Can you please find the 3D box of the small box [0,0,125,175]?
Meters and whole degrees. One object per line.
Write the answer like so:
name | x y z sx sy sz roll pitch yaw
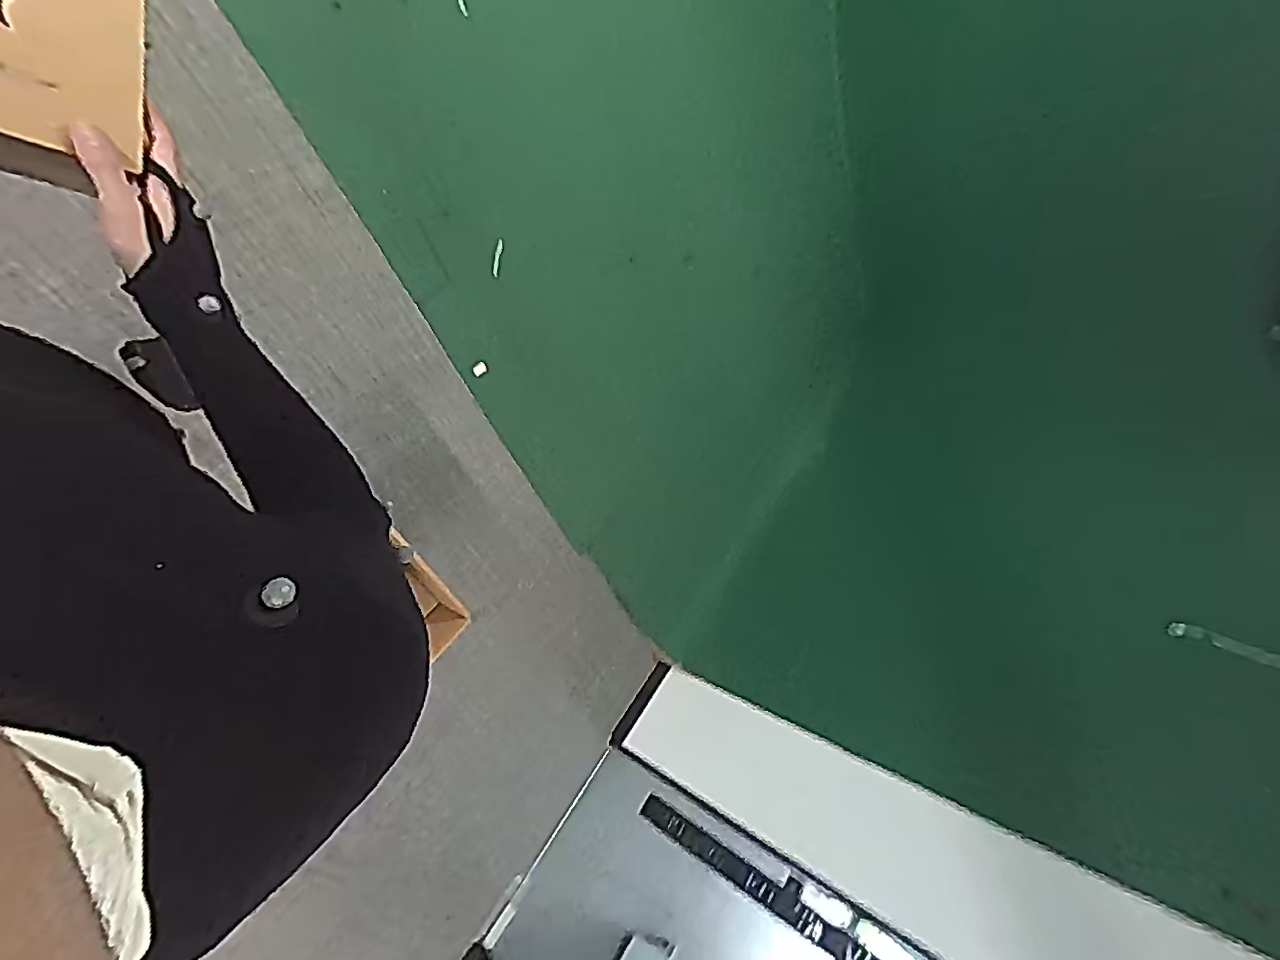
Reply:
small box | -0.511 -0.359 0.403 0.168 0.176 0.179 -3 104 -50
